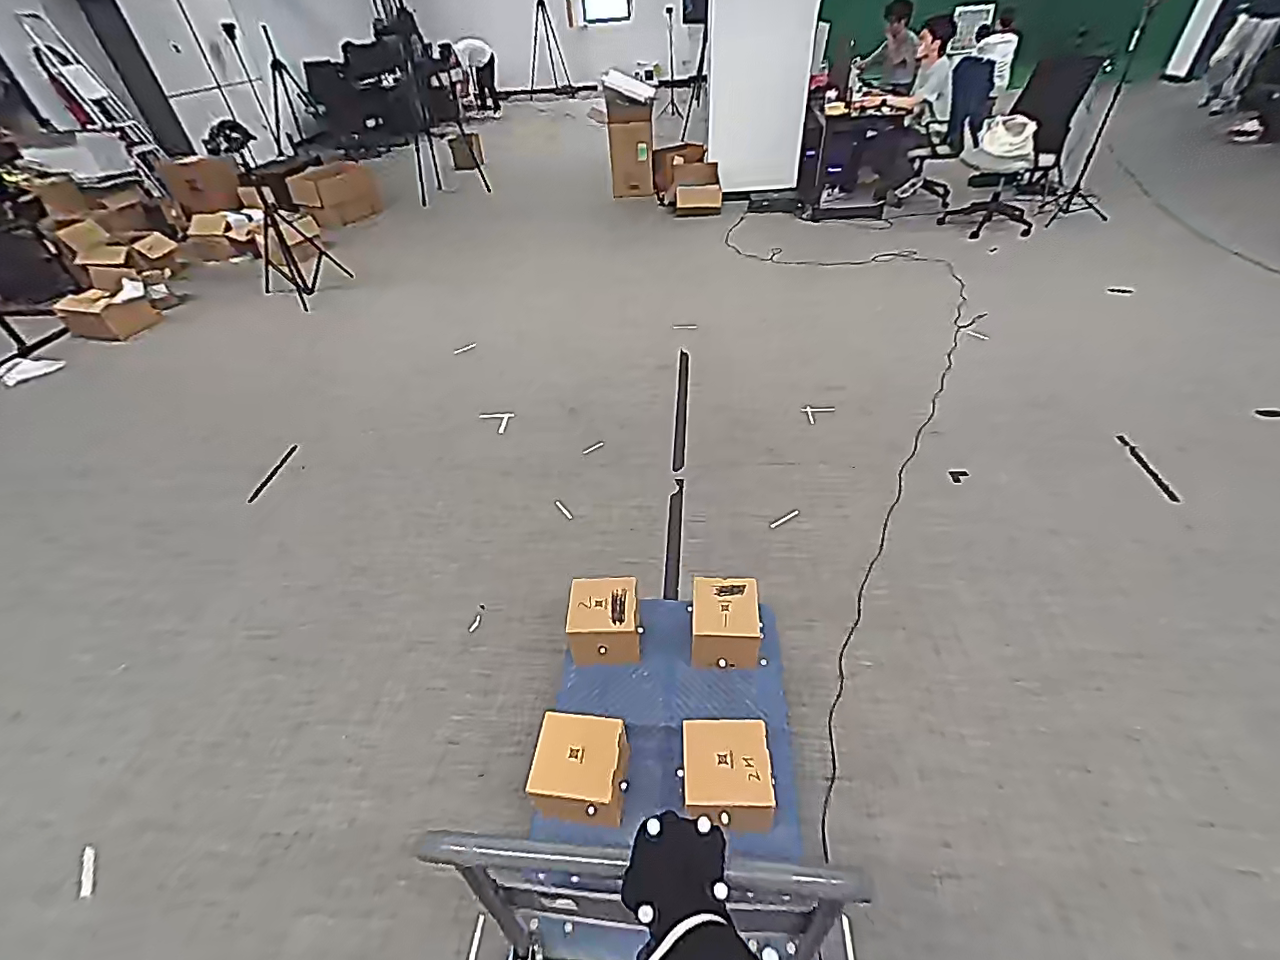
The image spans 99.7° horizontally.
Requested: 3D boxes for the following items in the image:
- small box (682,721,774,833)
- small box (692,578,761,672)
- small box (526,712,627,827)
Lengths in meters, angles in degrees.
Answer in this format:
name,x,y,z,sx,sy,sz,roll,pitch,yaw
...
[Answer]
name,x,y,z,sx,sy,sz,roll,pitch,yaw
small box,0.181,0.630,1.146,0.179,0.176,0.168,-1,42,5
small box,0.224,0.379,1.420,0.168,0.176,0.179,1,43,7
small box,-0.128,0.631,1.177,0.179,0.176,0.168,4,42,7
